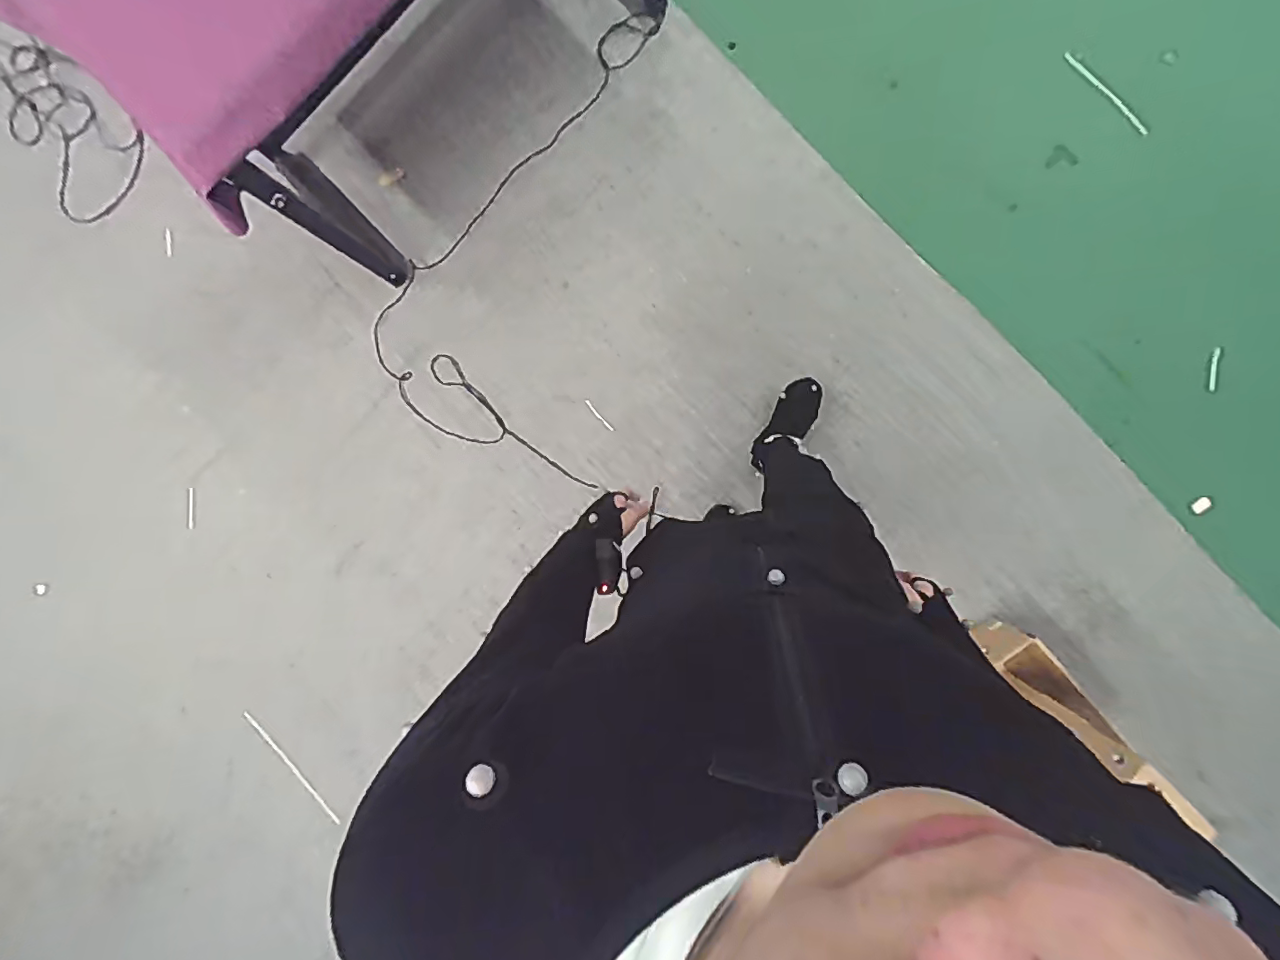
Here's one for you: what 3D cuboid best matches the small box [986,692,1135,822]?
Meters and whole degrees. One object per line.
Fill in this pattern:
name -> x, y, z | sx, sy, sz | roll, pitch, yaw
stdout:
small box -> 0.971, 0.636, 1.265 | 0.168, 0.176, 0.179 | -43, 88, 2

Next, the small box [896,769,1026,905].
small box -> 0.753, 0.840, 1.290 | 0.168, 0.176, 0.179 | -37, 86, 5
